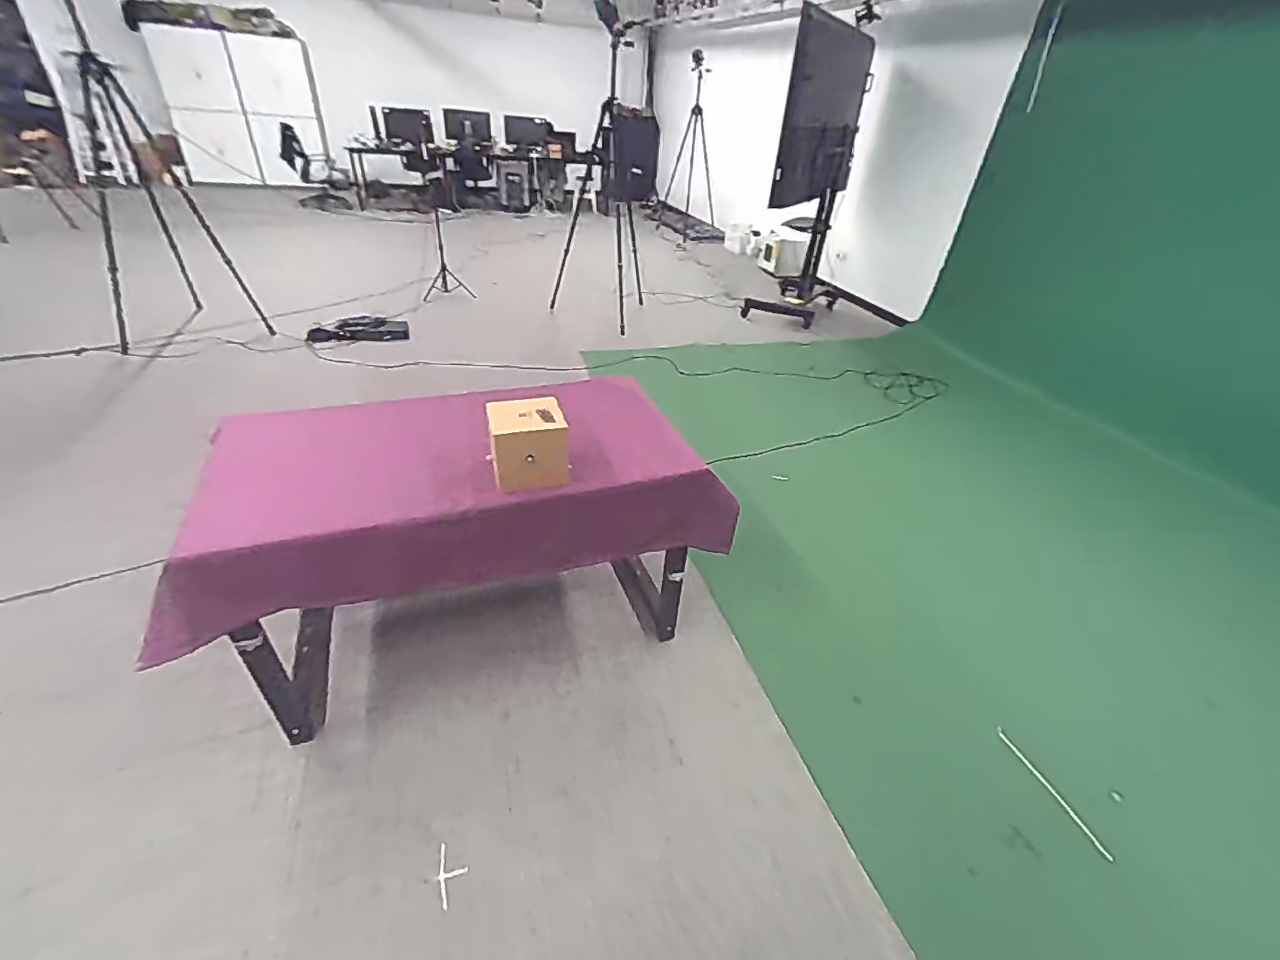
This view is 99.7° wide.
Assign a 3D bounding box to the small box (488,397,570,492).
[{"bbox_3d":[-0.277,-0.090,1.351,0.179,0.176,0.168,-9,37,-17],"label":"small box"}]
